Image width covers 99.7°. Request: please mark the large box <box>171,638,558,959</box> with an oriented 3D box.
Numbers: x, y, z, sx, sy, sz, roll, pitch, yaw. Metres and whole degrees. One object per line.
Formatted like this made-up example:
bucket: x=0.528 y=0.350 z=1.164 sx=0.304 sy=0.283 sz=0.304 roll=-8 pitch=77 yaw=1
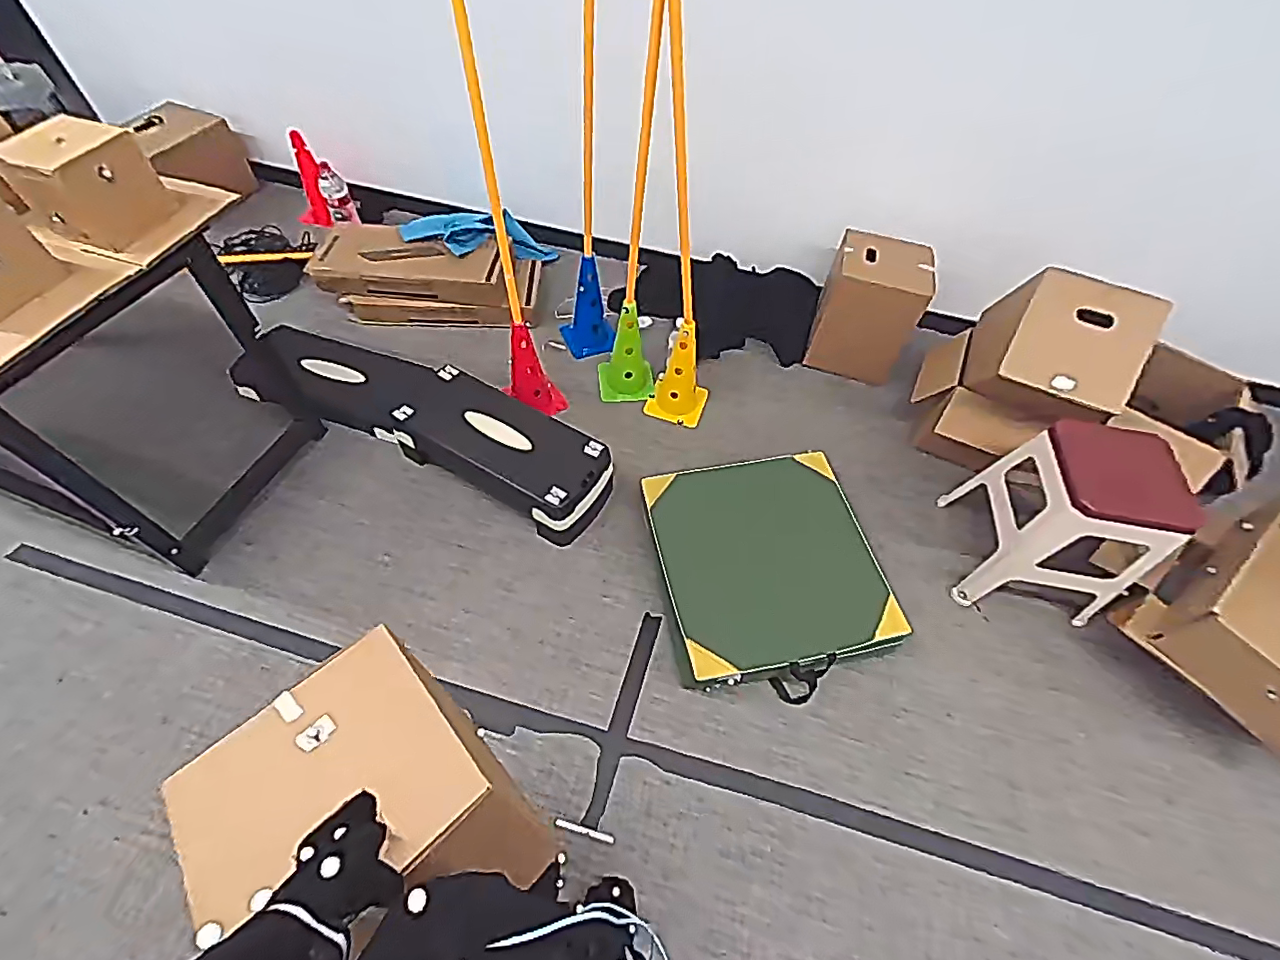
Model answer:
large box: x=-0.376 y=0.517 z=0.815 sx=0.320 sy=0.408 sz=0.320 roll=-36 pitch=52 yaw=-23
